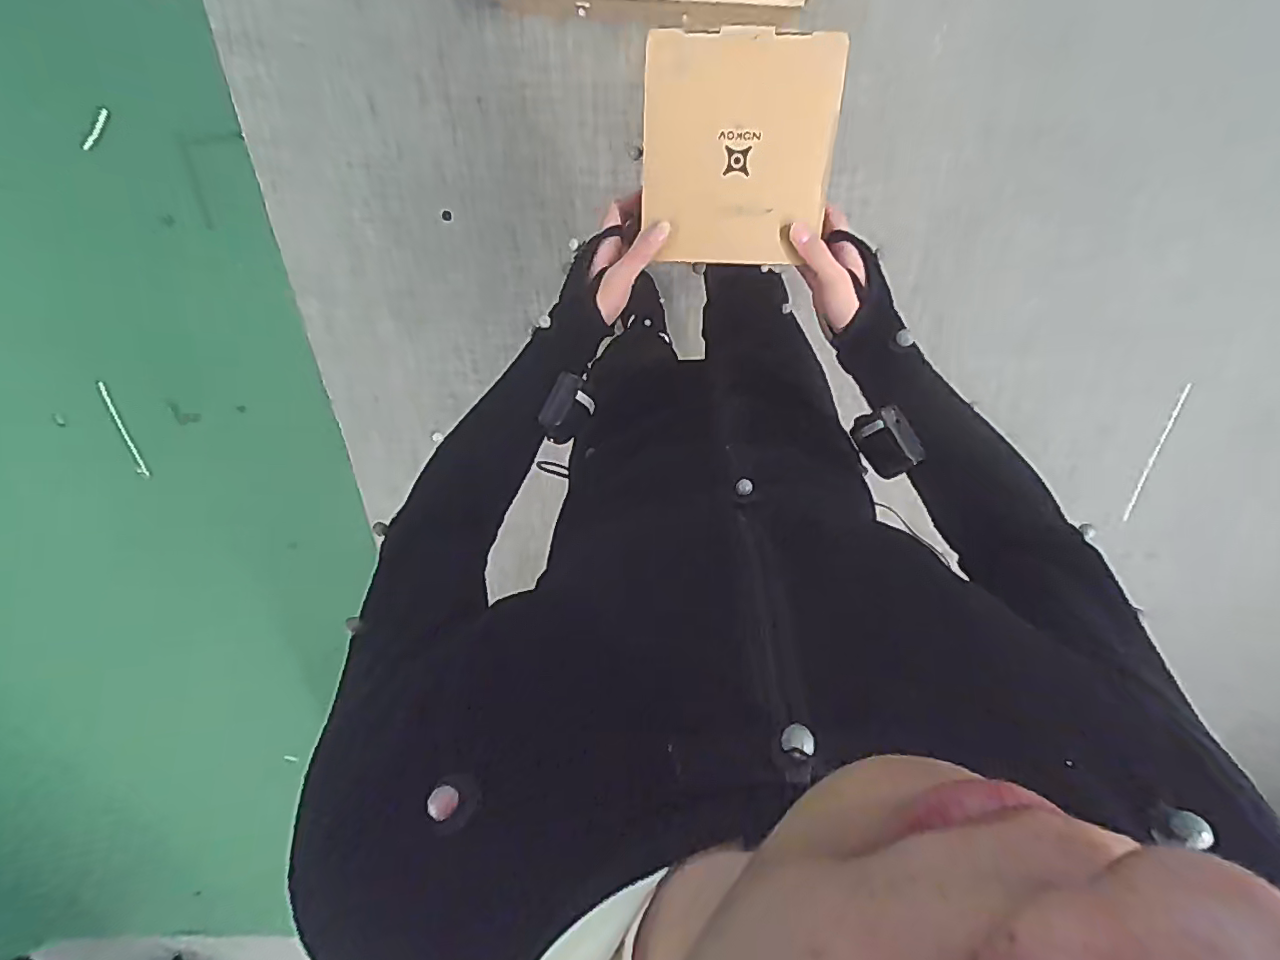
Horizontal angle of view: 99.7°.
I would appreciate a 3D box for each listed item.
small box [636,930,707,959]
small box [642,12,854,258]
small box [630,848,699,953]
[{"bbox_3d":[0.073,1.186,1.260,0.168,0.176,0.179,0,119,0],"label":"small box"},{"bbox_3d":[0.087,-0.317,0.531,0.168,0.176,0.179,2,114,1],"label":"small box"},{"bbox_3d":[0.064,1.079,1.389,0.168,0.176,0.179,-4,118,2],"label":"small box"}]
